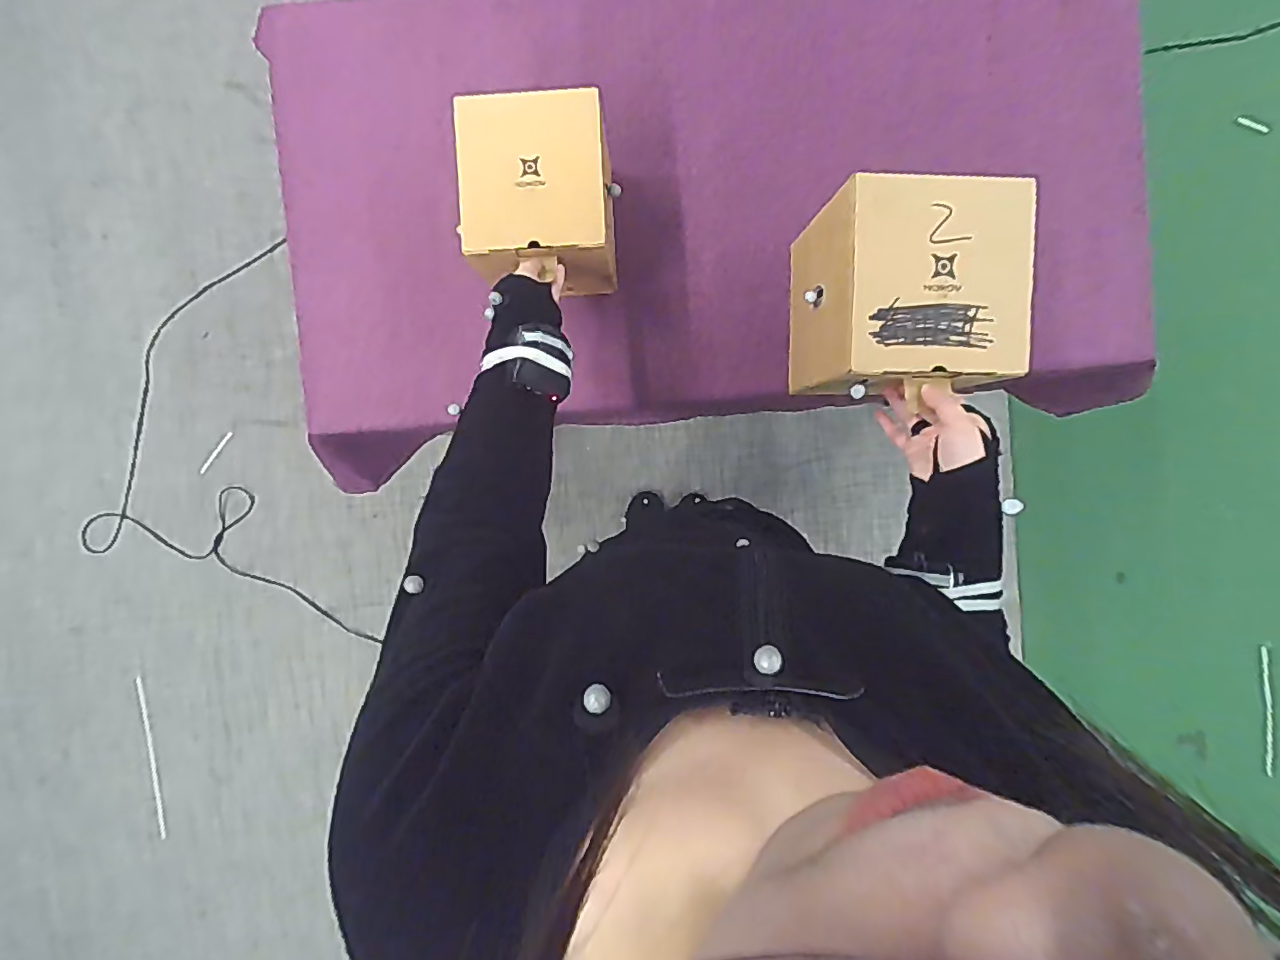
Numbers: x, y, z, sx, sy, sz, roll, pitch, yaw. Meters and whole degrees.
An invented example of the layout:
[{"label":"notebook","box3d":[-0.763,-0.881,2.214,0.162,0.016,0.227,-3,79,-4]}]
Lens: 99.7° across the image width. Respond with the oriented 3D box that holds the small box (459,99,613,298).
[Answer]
[{"label":"small box","box3d":[-0.124,-0.351,0.703,0.168,0.176,0.179,-3,92,1]}]
